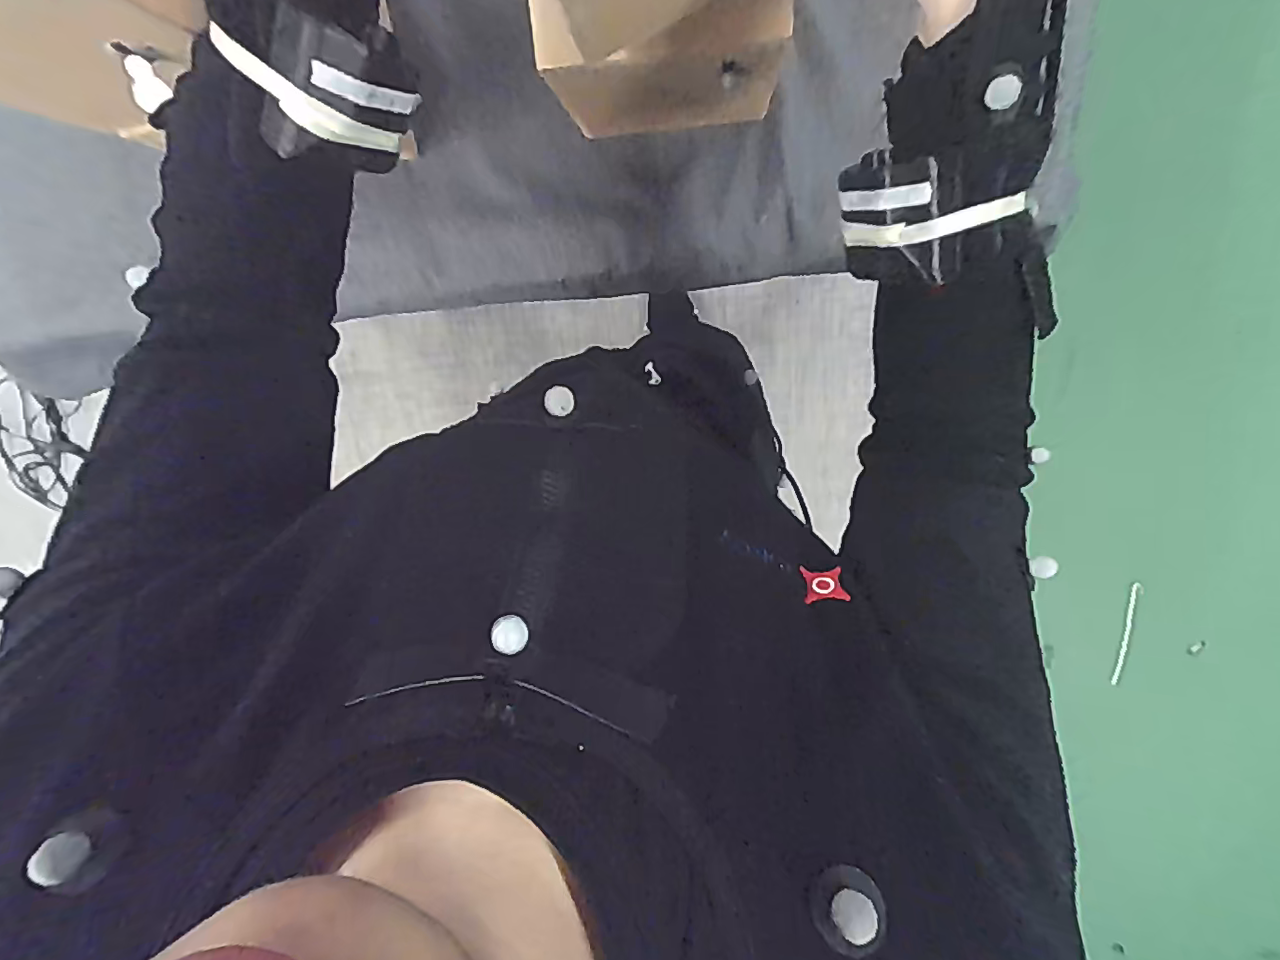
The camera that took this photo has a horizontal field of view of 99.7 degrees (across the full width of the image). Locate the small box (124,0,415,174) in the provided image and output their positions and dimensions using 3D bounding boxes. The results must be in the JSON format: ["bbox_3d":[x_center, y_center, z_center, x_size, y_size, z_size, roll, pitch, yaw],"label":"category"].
[{"bbox_3d":[-0.320,-0.382,0.456,0.168,0.176,0.179,-4,109,7],"label":"small box"}]

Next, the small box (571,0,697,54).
[{"bbox_3d":[0.012,-0.330,0.223,0.179,0.176,0.168,-22,113,12],"label":"small box"}]

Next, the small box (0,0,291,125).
[{"bbox_3d":[-0.339,-0.330,0.305,0.179,0.176,0.168,-6,108,9],"label":"small box"}]

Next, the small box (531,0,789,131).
[{"bbox_3d":[0.016,-0.395,0.422,0.179,0.176,0.168,-3,108,6],"label":"small box"}]
